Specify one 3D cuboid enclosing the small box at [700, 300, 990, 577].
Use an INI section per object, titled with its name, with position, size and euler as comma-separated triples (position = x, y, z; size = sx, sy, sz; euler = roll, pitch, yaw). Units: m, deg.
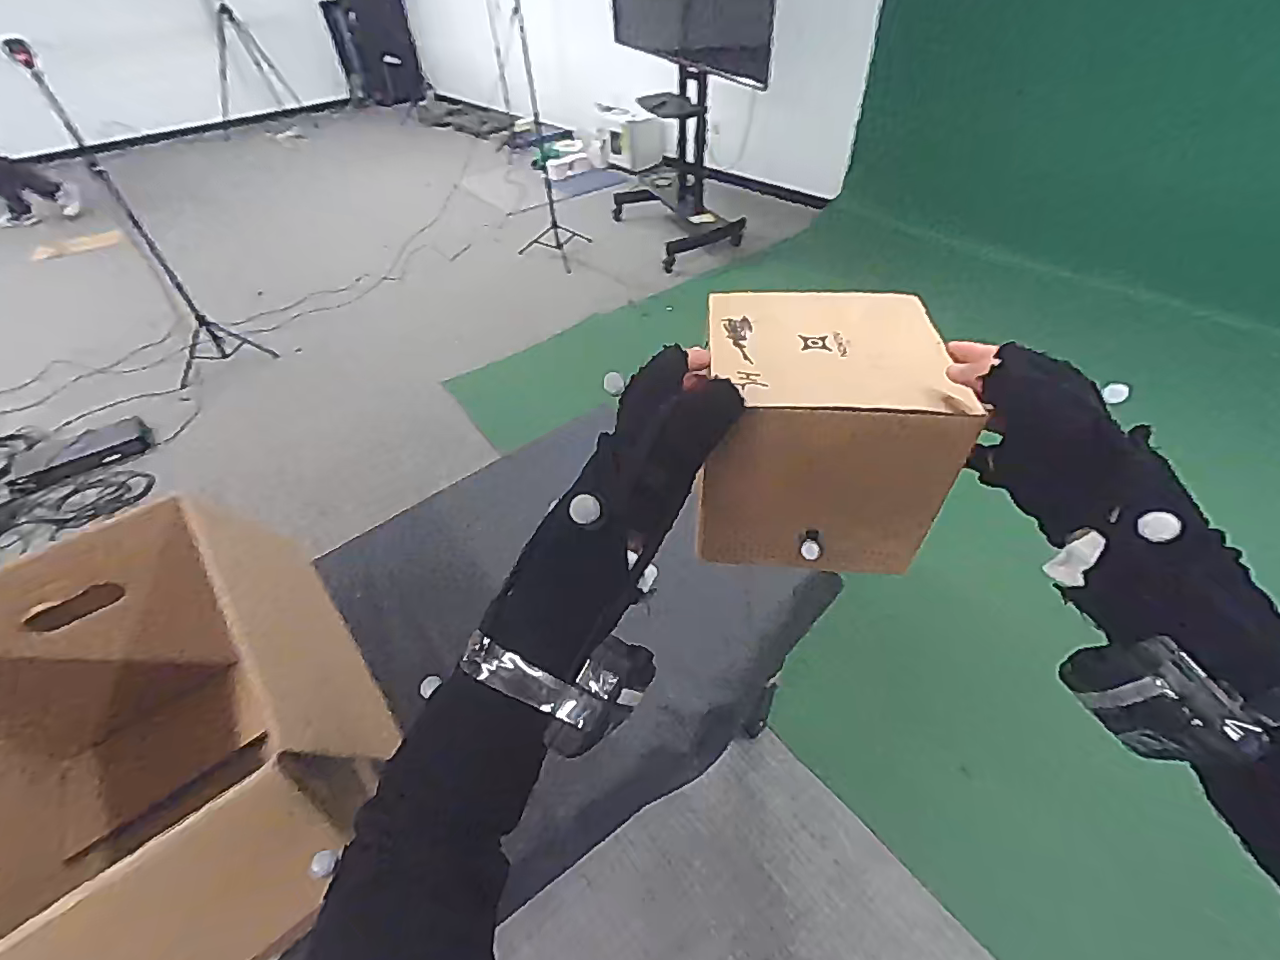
[small box]
position = 0.148, -0.034, 0.463
size = 0.179, 0.176, 0.168
euler = 4, 43, 5
